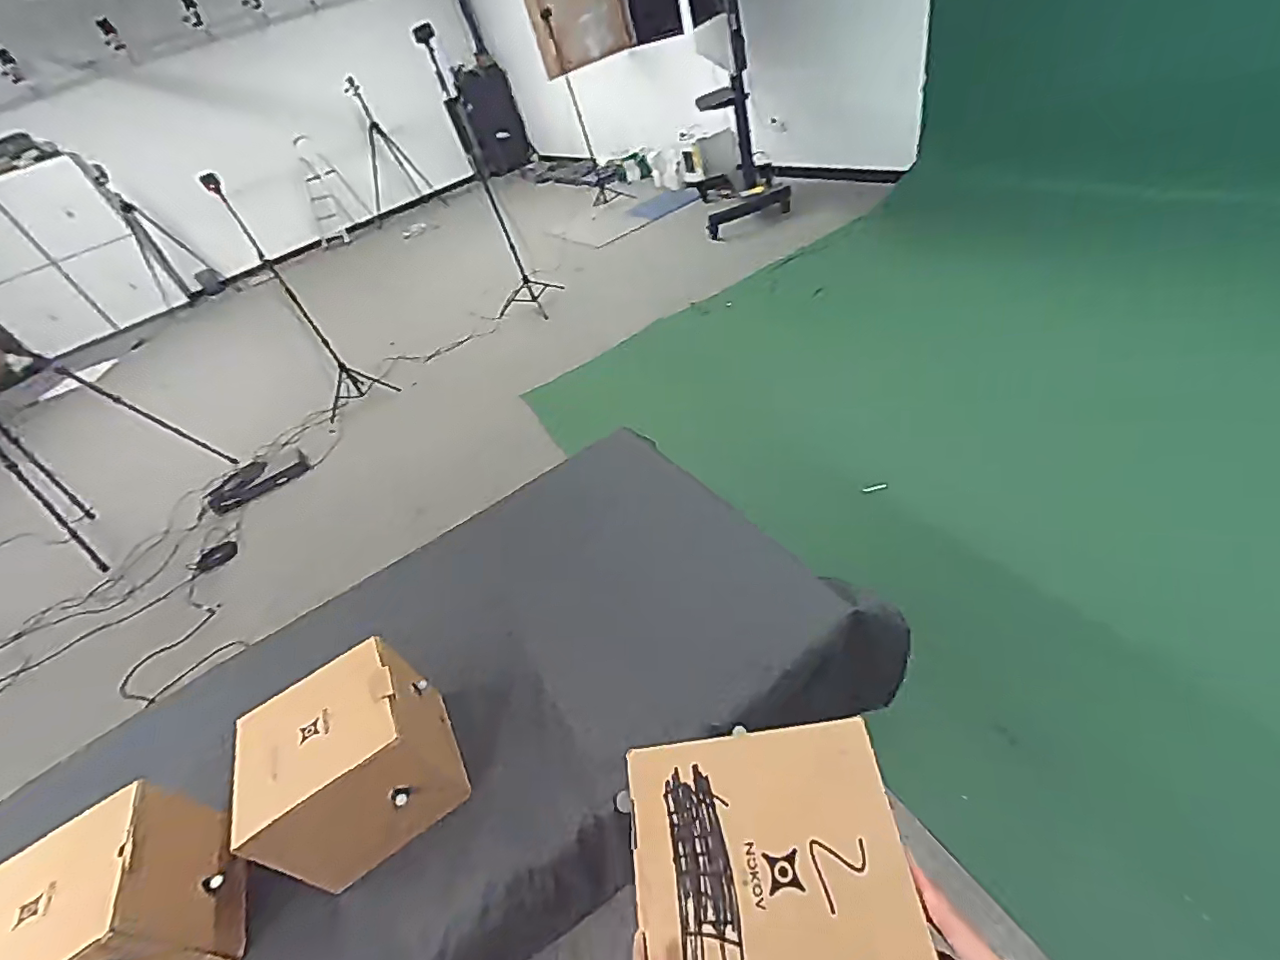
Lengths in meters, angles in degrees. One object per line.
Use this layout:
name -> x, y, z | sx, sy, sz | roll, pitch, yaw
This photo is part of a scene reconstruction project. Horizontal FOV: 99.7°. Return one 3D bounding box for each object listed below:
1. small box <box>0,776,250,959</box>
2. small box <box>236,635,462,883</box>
small box -> -0.568, 0.475, 0.585 | 0.179, 0.176, 0.168 | -32, 40, -15
small box -> -0.336, 0.332, 0.651 | 0.179, 0.176, 0.168 | -33, 40, -14
